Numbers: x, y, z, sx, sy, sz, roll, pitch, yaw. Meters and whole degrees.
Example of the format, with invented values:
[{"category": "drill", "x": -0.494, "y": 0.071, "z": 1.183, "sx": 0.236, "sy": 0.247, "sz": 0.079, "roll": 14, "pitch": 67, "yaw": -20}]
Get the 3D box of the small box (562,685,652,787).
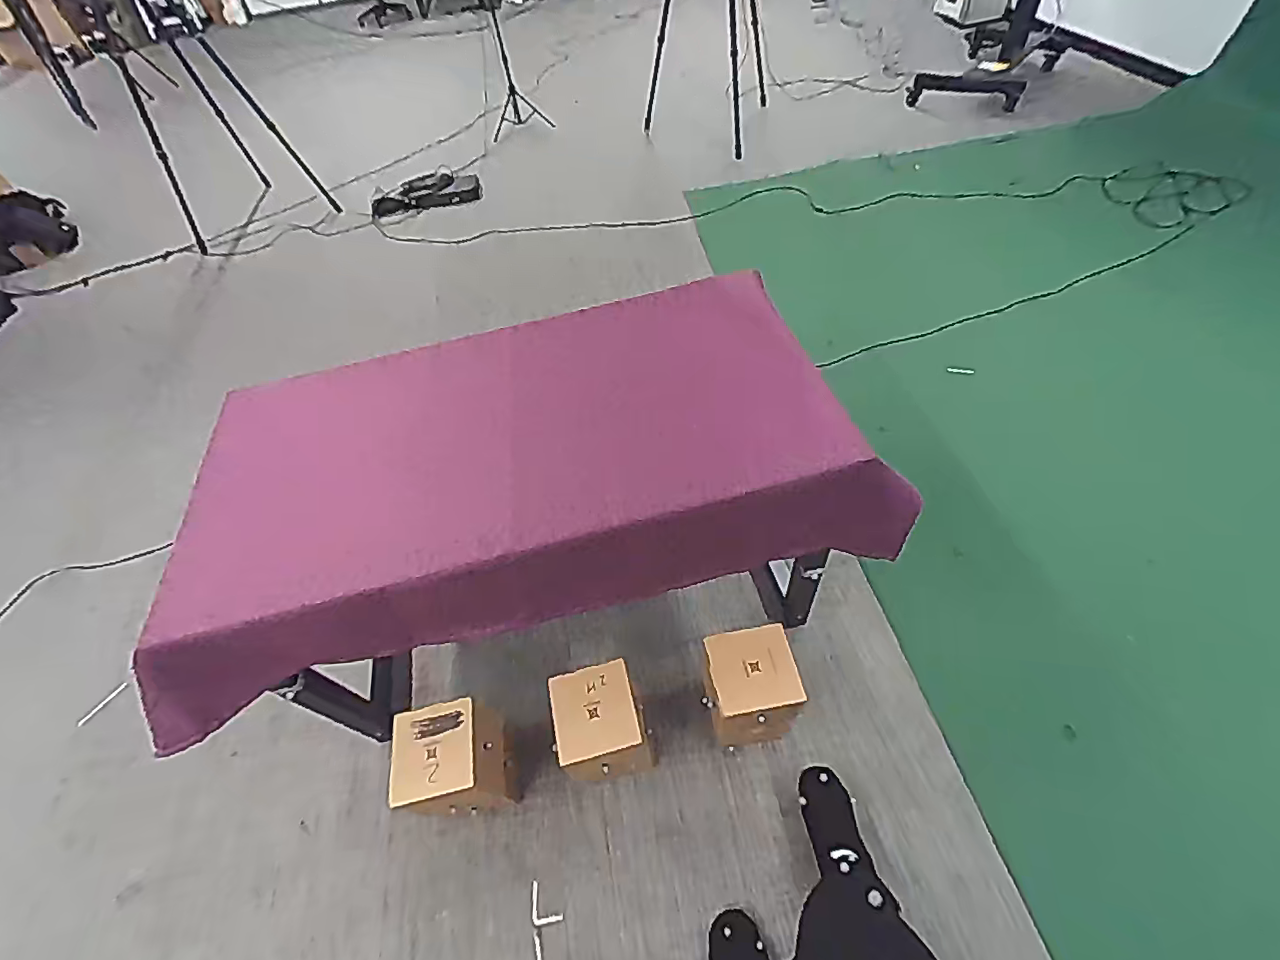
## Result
[{"category": "small box", "x": -0.077, "y": 0.618, "z": 1.298, "sx": 0.179, "sy": 0.176, "sz": 0.168, "roll": -13, "pitch": 52, "yaw": -3}]
